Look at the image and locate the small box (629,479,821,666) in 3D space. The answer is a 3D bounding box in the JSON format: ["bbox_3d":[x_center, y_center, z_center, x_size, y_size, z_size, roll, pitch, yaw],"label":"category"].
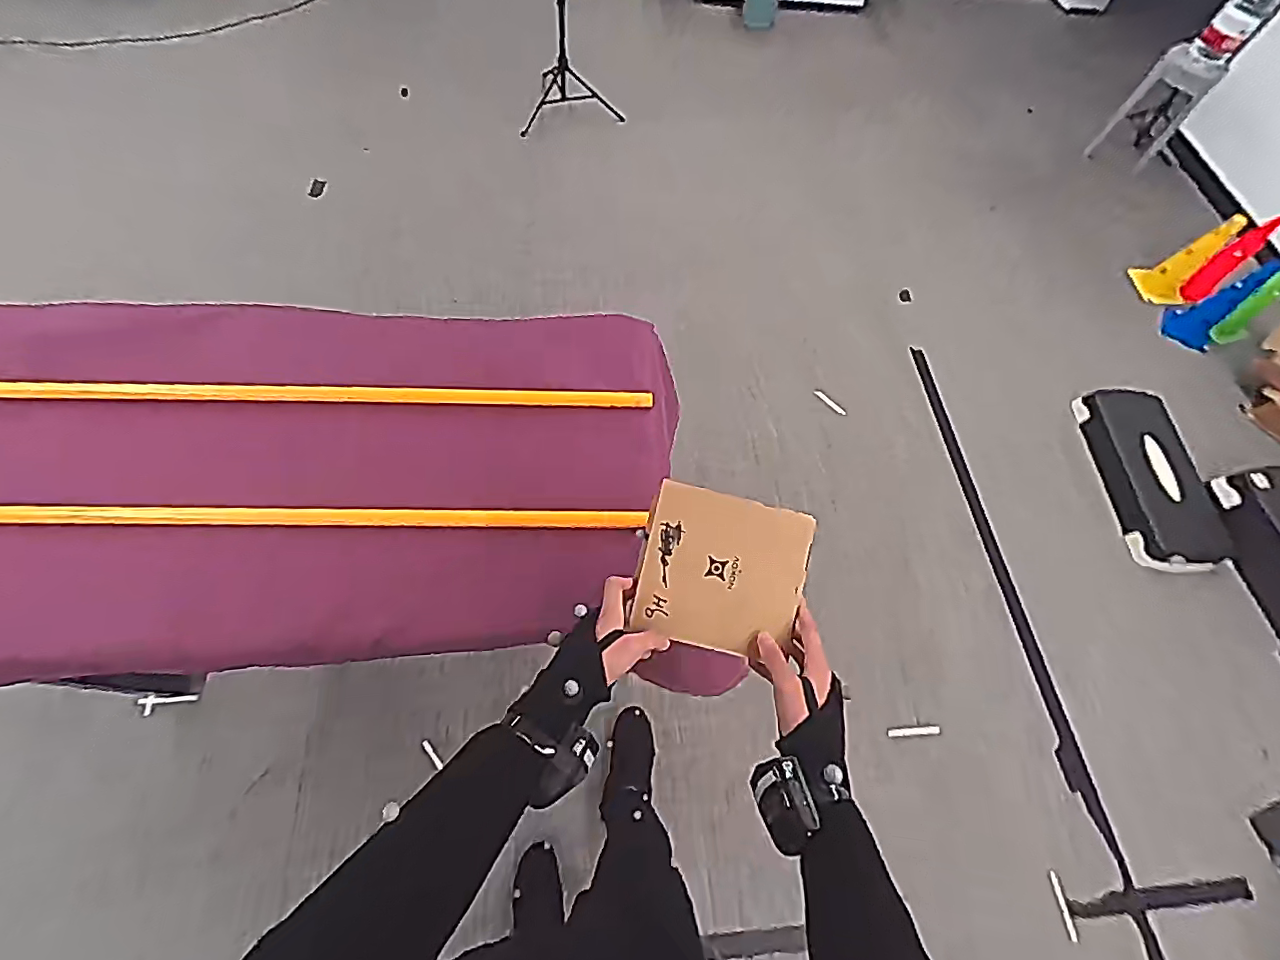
[{"bbox_3d":[0.091,0.107,0.654,0.179,0.176,0.168,15,81,0],"label":"small box"}]
